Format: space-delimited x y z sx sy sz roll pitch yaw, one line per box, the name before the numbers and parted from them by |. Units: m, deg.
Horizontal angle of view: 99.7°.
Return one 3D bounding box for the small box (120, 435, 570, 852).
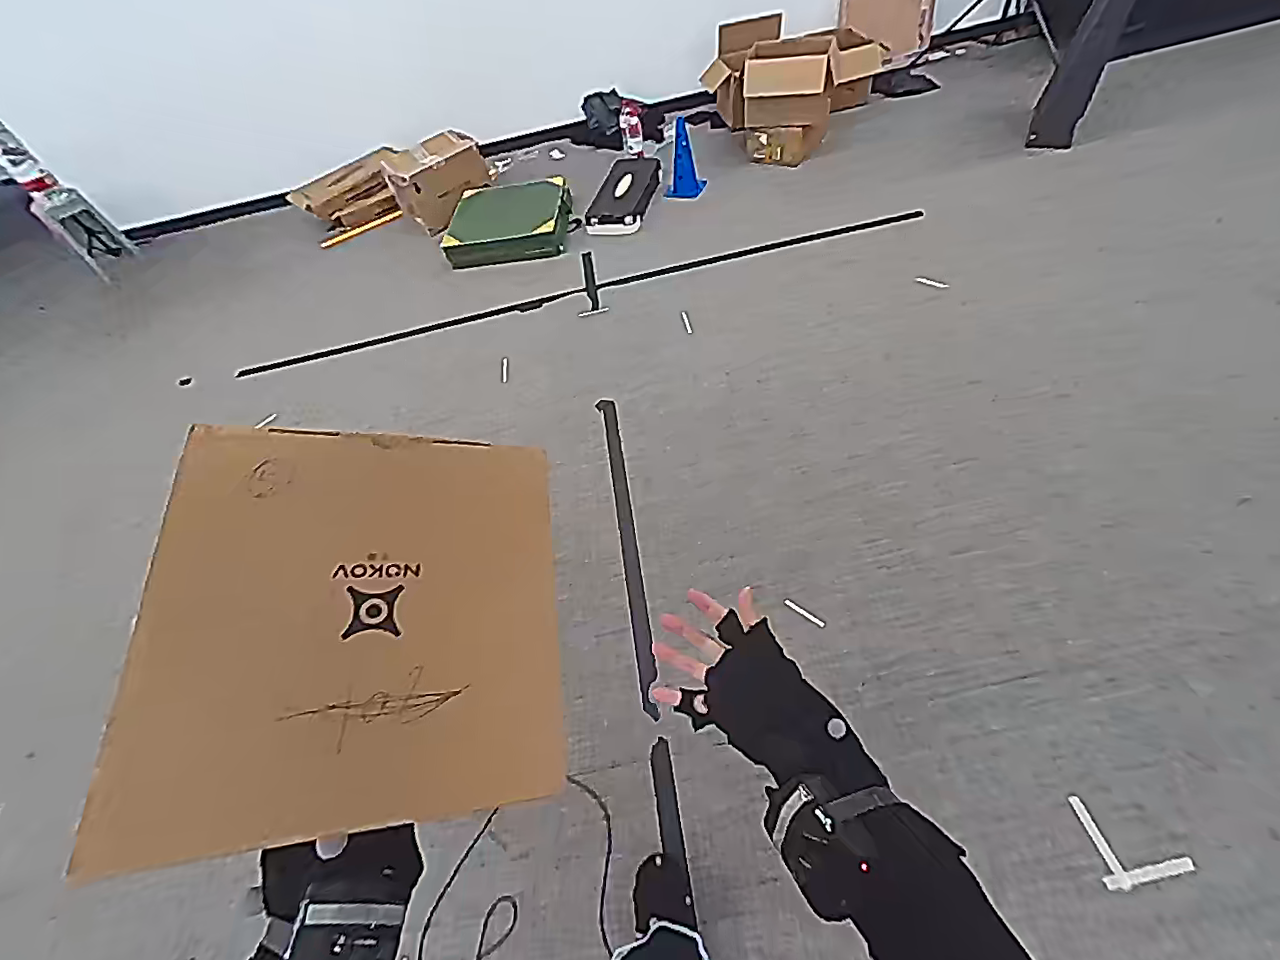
small box | -0.146 0.096 0.320 0.168 0.176 0.179 4 62 -22
